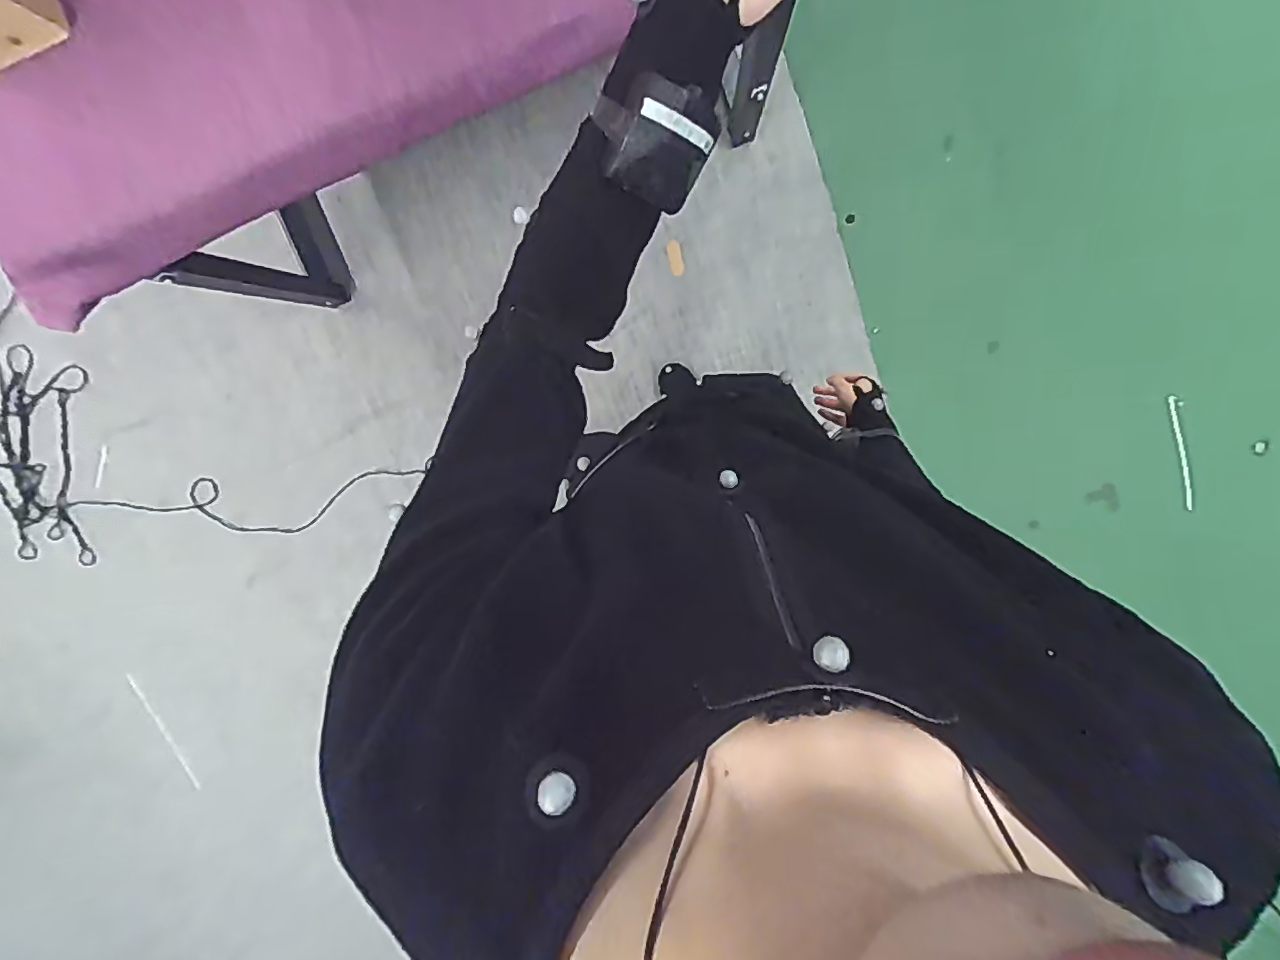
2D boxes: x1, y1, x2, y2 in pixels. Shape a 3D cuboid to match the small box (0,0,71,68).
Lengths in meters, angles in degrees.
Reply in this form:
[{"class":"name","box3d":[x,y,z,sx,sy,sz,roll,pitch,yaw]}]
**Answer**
[{"class":"small box","box3d":[-0.835,-0.614,0.620,0.168,0.176,0.179,-16,100,8]}]
